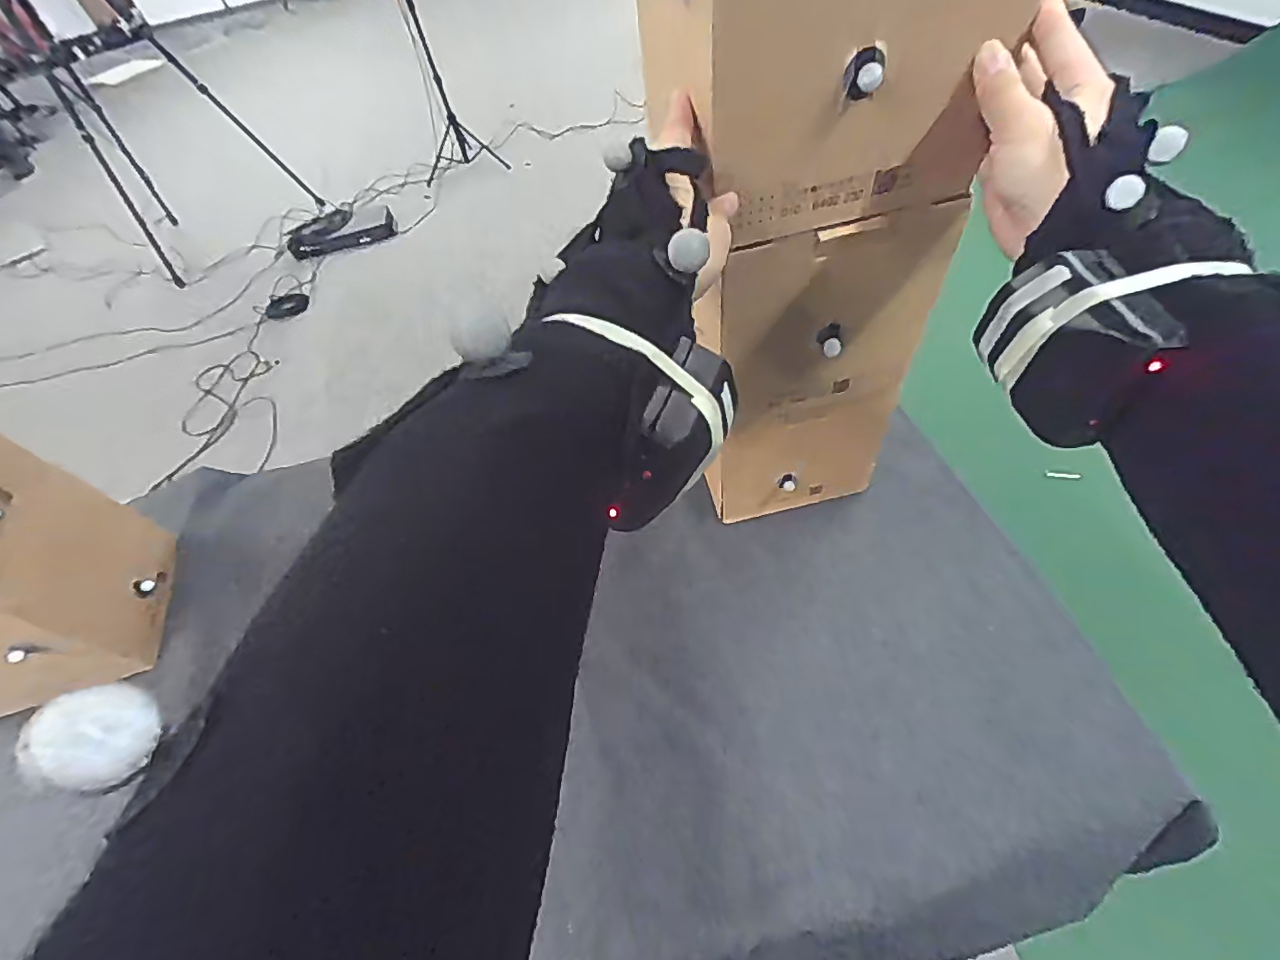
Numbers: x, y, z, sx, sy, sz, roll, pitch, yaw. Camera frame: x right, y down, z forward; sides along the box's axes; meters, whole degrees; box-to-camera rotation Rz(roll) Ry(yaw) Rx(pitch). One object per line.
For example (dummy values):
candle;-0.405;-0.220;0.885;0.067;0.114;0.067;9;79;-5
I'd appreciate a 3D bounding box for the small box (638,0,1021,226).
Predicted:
small box;0.095;-0.269;0.313;0.168;0.176;0.179;-14;54;-2

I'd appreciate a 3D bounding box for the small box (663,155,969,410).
small box;0.122;-0.176;0.447;0.168;0.176;0.179;-13;55;-1

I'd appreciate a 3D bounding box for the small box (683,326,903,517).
small box;0.144;-0.087;0.583;0.168;0.176;0.179;-13;54;-1
